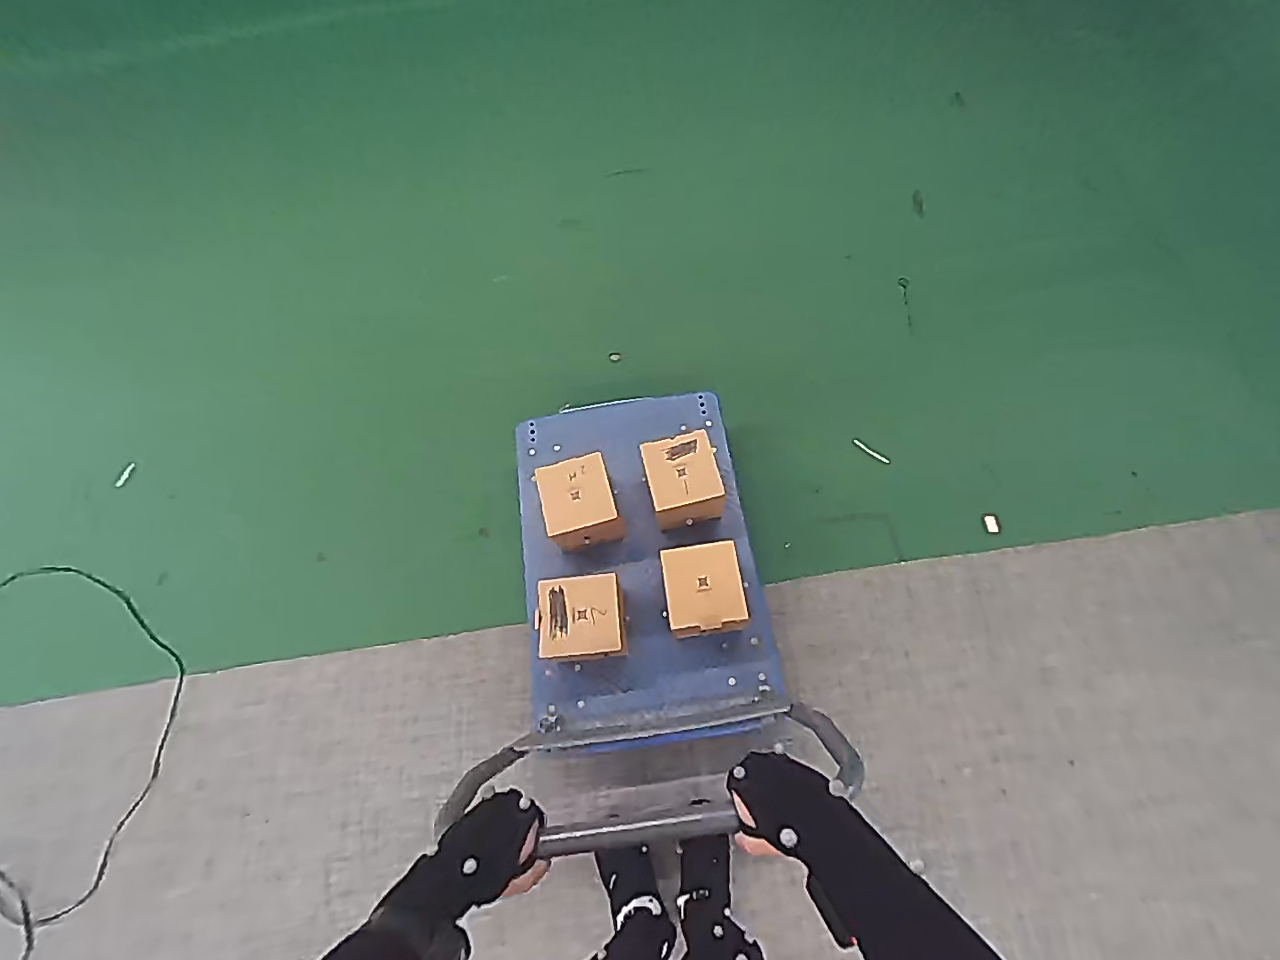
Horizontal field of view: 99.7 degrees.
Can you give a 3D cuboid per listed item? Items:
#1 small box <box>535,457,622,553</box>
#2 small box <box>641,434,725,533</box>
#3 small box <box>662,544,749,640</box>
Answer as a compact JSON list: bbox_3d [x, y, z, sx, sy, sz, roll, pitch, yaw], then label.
[{"bbox_3d":[-0.145,0.070,1.328,0.168,0.176,0.179,-15,69,-2],"label":"small box"},{"bbox_3d":[0.102,0.013,1.331,0.168,0.176,0.179,-14,69,0],"label":"small box"},{"bbox_3d":[0.143,0.260,1.234,0.168,0.176,0.179,-9,69,1],"label":"small box"}]
